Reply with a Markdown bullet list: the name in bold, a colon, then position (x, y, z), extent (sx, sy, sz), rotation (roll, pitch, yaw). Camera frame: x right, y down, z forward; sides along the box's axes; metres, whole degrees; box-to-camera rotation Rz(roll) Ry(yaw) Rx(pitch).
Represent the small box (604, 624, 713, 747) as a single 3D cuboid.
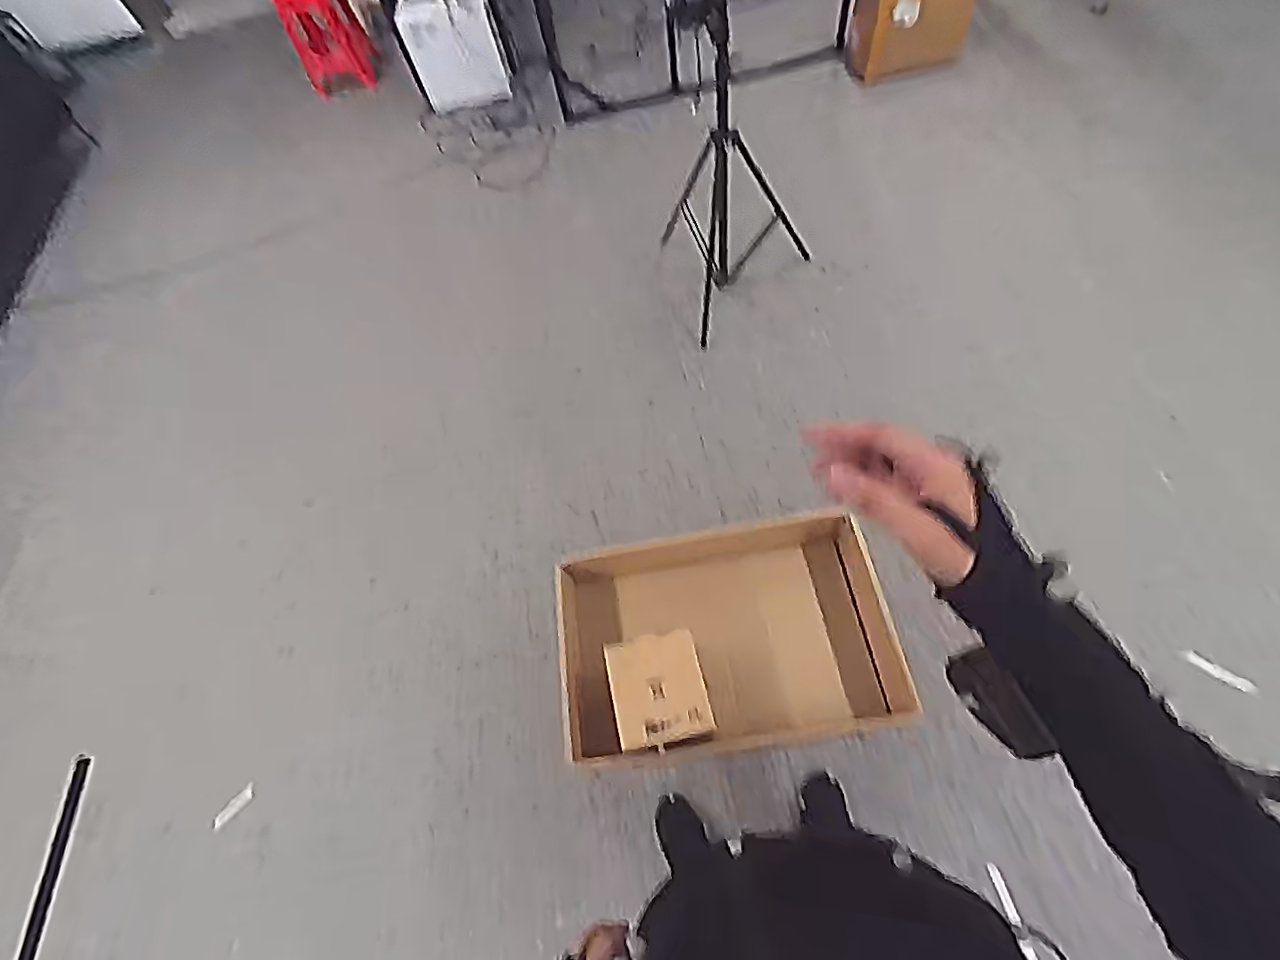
- **small box**: position (0.038, 0.395, 1.026), extent (0.168, 0.176, 0.179), rotation (-15, 61, 2)
